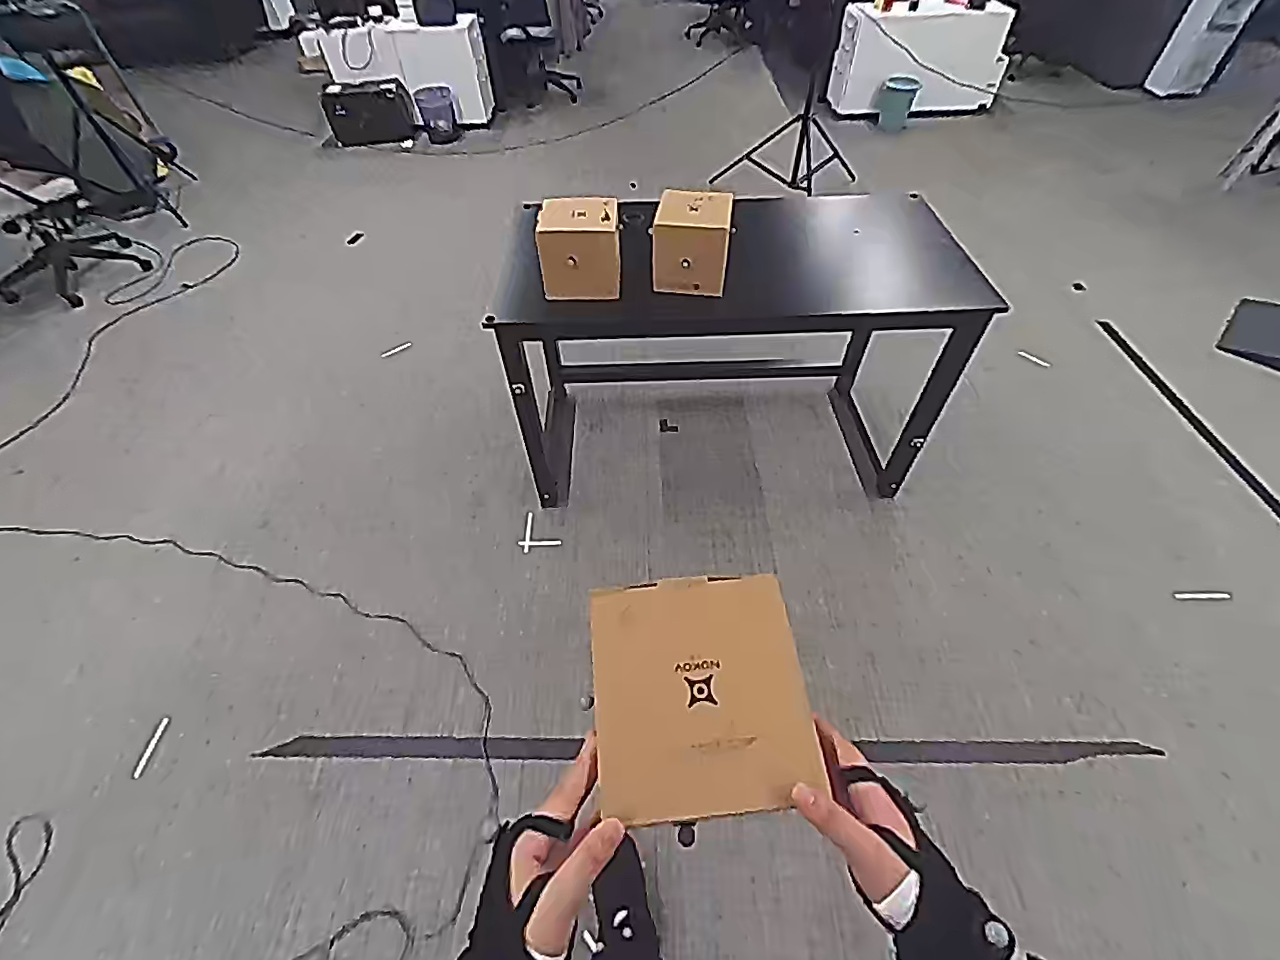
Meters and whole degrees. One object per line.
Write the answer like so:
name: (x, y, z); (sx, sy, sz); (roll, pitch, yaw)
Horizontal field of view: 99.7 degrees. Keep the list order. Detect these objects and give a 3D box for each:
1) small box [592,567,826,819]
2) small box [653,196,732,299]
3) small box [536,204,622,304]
small box: (0.043, 0.198, 0.494); (0.168, 0.176, 0.179); (-4, 57, -4)
small box: (0.126, -0.554, 1.295); (0.168, 0.176, 0.179); (7, 50, 7)
small box: (-0.137, -0.535, 1.288); (0.179, 0.176, 0.168); (-1, 50, 2)
